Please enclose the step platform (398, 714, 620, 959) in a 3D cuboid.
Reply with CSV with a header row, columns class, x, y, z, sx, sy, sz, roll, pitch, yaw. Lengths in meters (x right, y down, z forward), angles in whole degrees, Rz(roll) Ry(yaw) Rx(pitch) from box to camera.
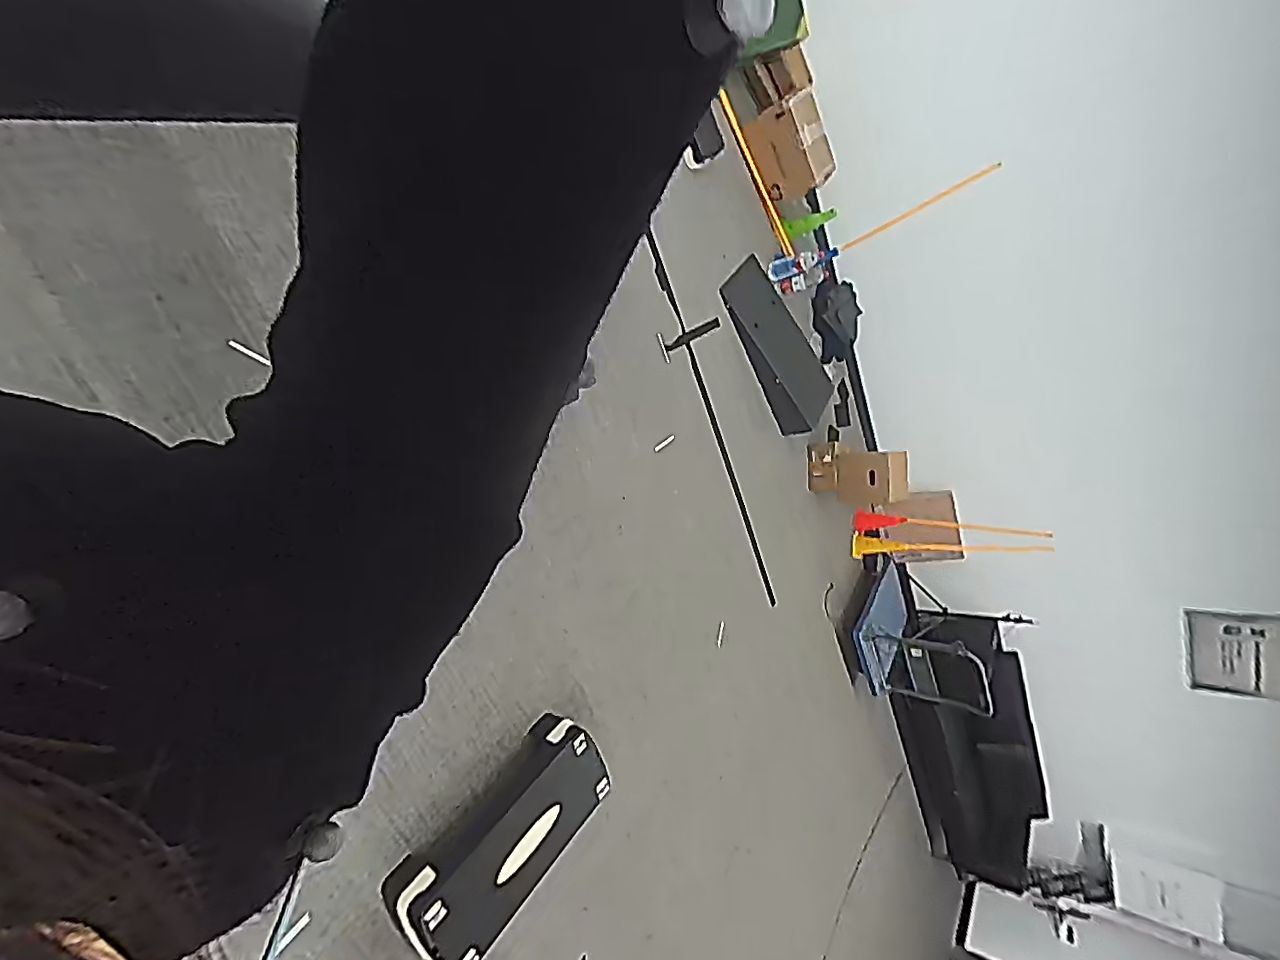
class,x,y,z,sx,sy,sz,roll,pitch,yaw
step platform,-0.355,1.053,1.658,0.684,0.204,0.286,-31,108,-46
